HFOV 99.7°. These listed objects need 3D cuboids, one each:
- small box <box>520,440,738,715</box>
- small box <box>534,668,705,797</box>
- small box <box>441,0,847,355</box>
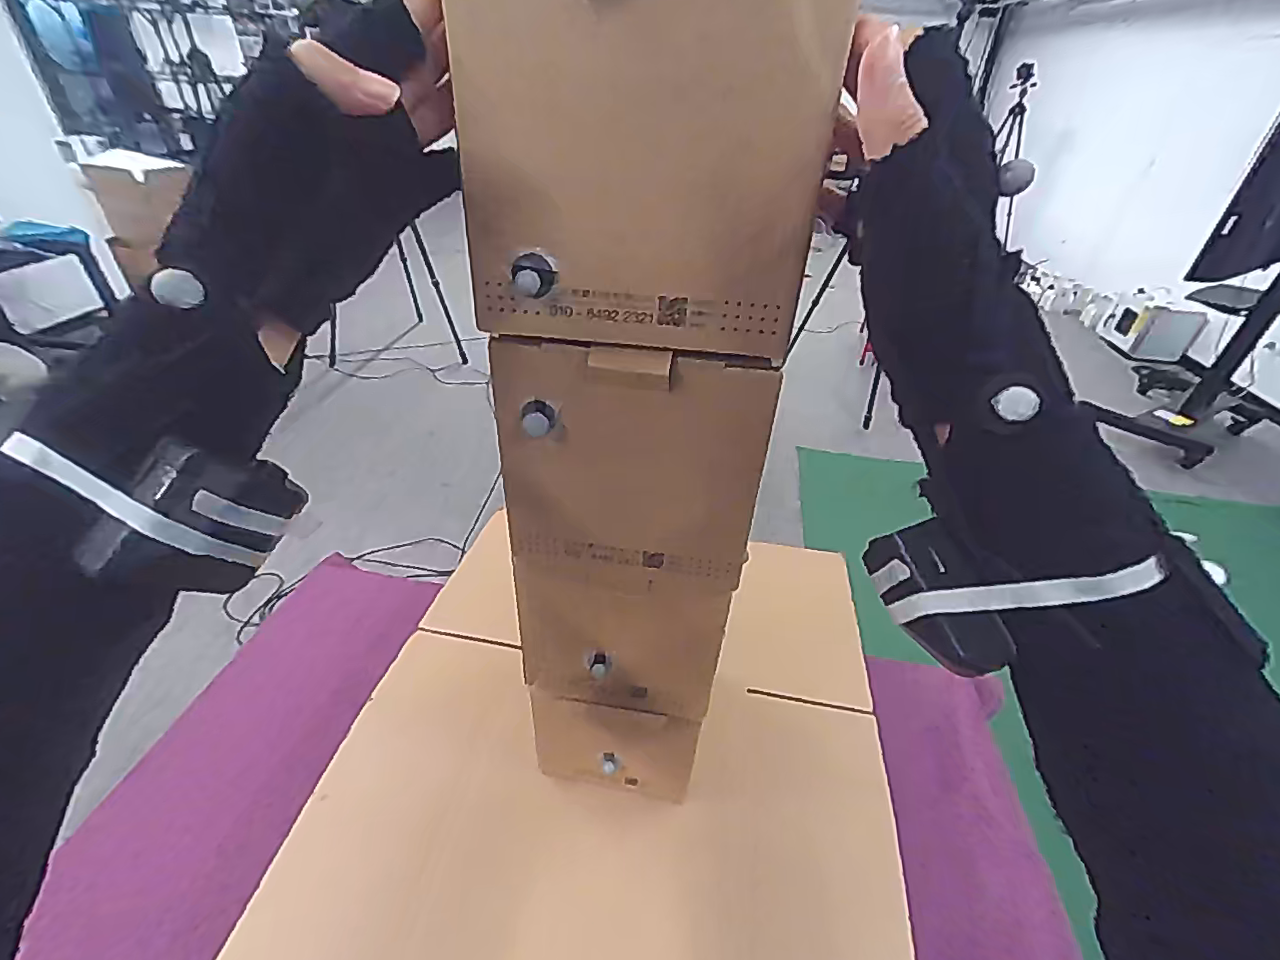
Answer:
[{"bbox_3d":[-0.004,0.086,0.510,0.168,0.176,0.179,7,36,5],"label":"small box"},{"bbox_3d":[-0.010,0.215,0.609,0.168,0.176,0.179,8,36,8],"label":"small box"},{"bbox_3d":[0.008,-0.181,0.313,0.168,0.176,0.179,6,33,3],"label":"small box"}]
